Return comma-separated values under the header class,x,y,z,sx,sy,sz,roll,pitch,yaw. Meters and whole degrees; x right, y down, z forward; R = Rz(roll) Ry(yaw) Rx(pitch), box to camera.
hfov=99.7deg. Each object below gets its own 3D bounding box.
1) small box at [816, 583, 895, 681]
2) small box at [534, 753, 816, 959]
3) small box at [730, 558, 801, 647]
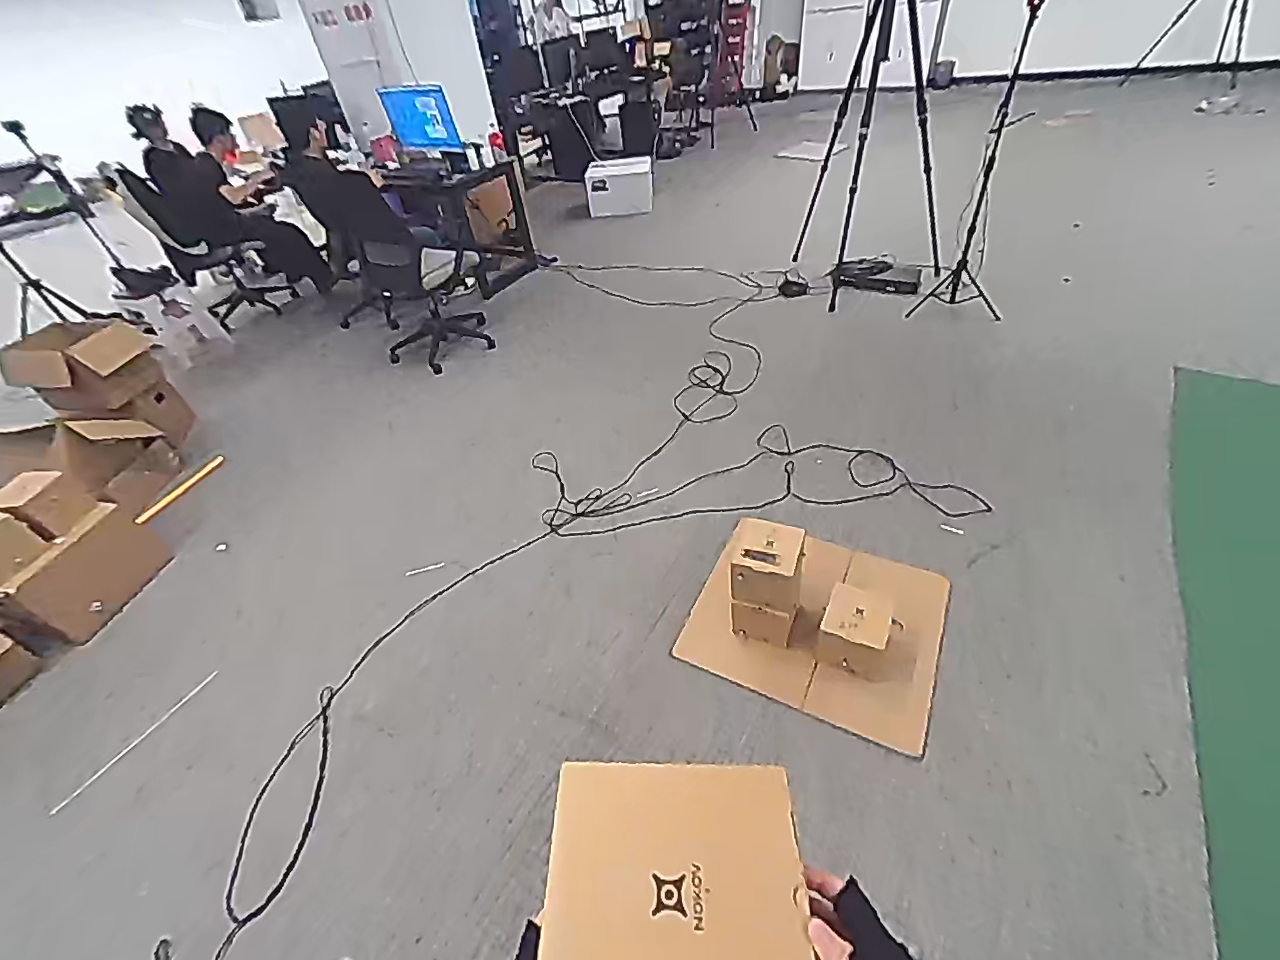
class,x,y,z,sx,sy,sz,roll,pitch,yaw
small box,0.601,0.426,1.516,0.168,0.176,0.179,14,47,26
small box,0.024,0.328,0.411,0.179,0.176,0.168,1,42,1
small box,0.377,0.369,1.616,0.168,0.176,0.179,12,46,23
